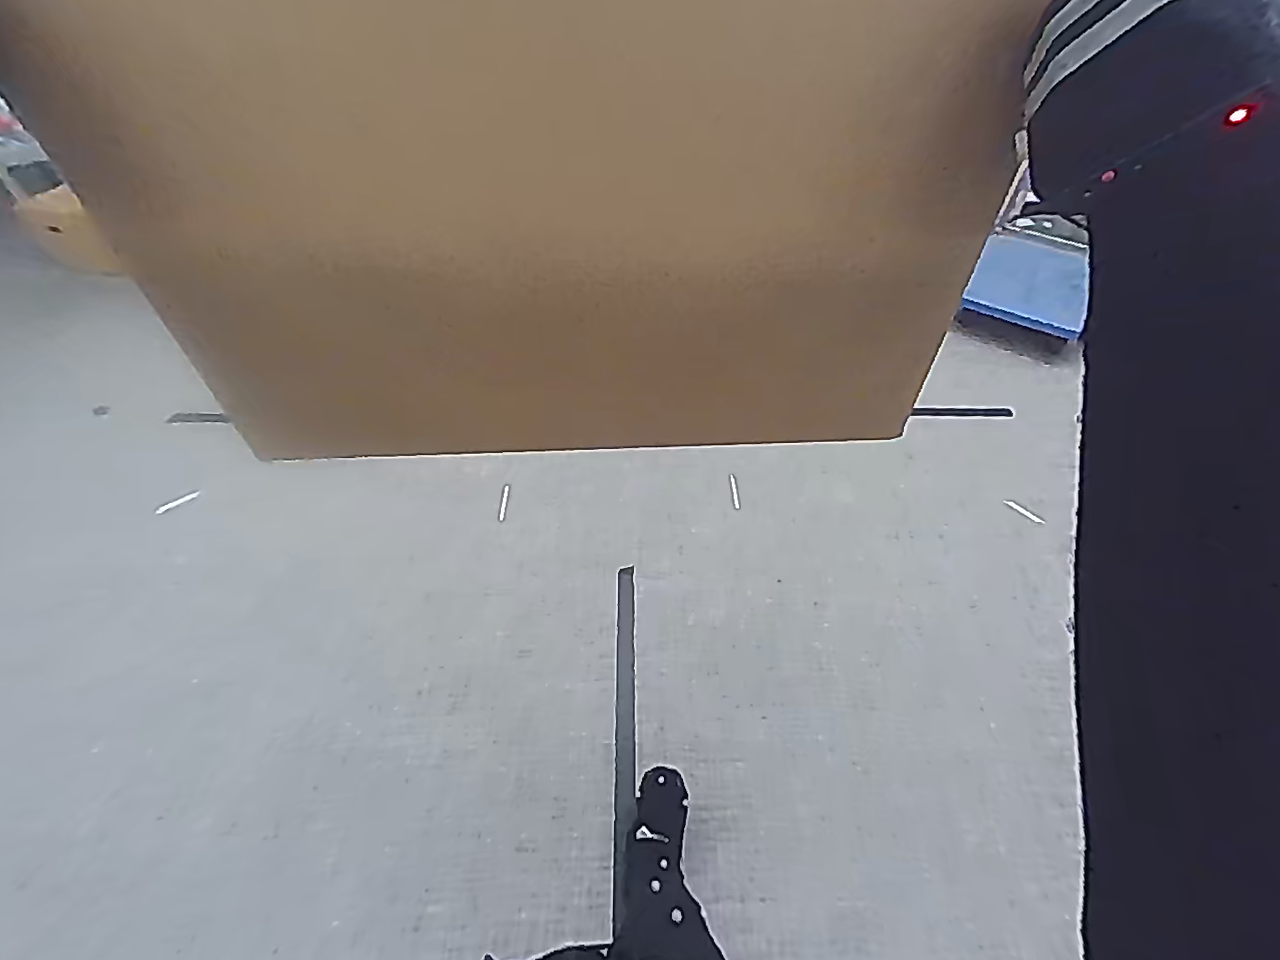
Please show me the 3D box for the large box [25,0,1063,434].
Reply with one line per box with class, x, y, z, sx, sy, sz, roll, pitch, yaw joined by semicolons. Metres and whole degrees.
large box;-0.039;-0.244;0.348;0.408;0.320;0.320;-1;45;-3
